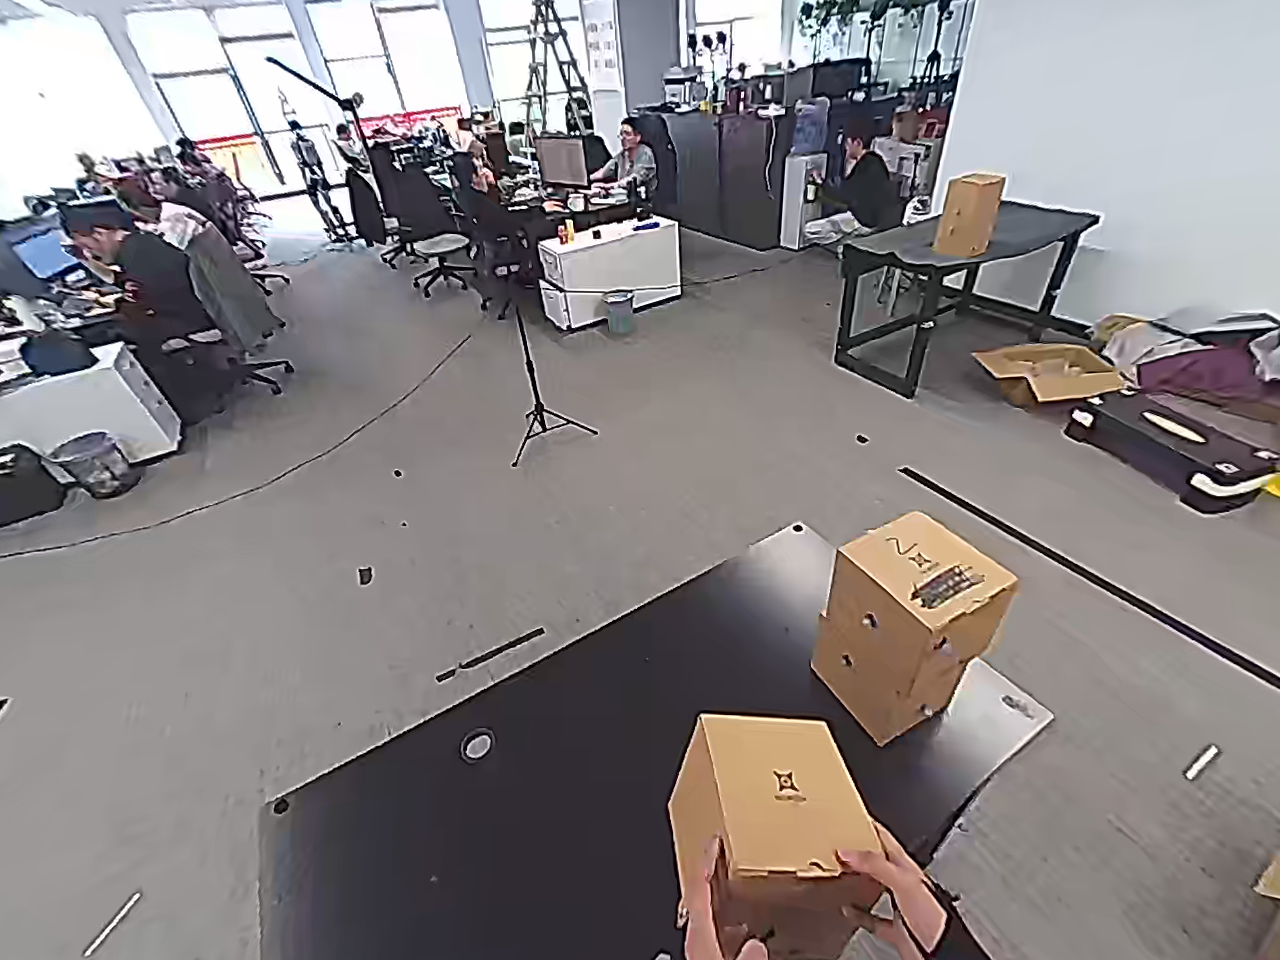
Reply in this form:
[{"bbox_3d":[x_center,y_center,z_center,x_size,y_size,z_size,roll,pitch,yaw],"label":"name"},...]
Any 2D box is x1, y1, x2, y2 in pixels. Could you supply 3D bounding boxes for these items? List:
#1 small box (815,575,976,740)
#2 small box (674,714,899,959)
[{"bbox_3d":[0.421,0.301,0.925,0.168,0.176,0.179,-21,40,-16],"label":"small box"},{"bbox_3d":[0.143,0.396,0.606,0.168,0.176,0.179,8,26,-10],"label":"small box"}]
